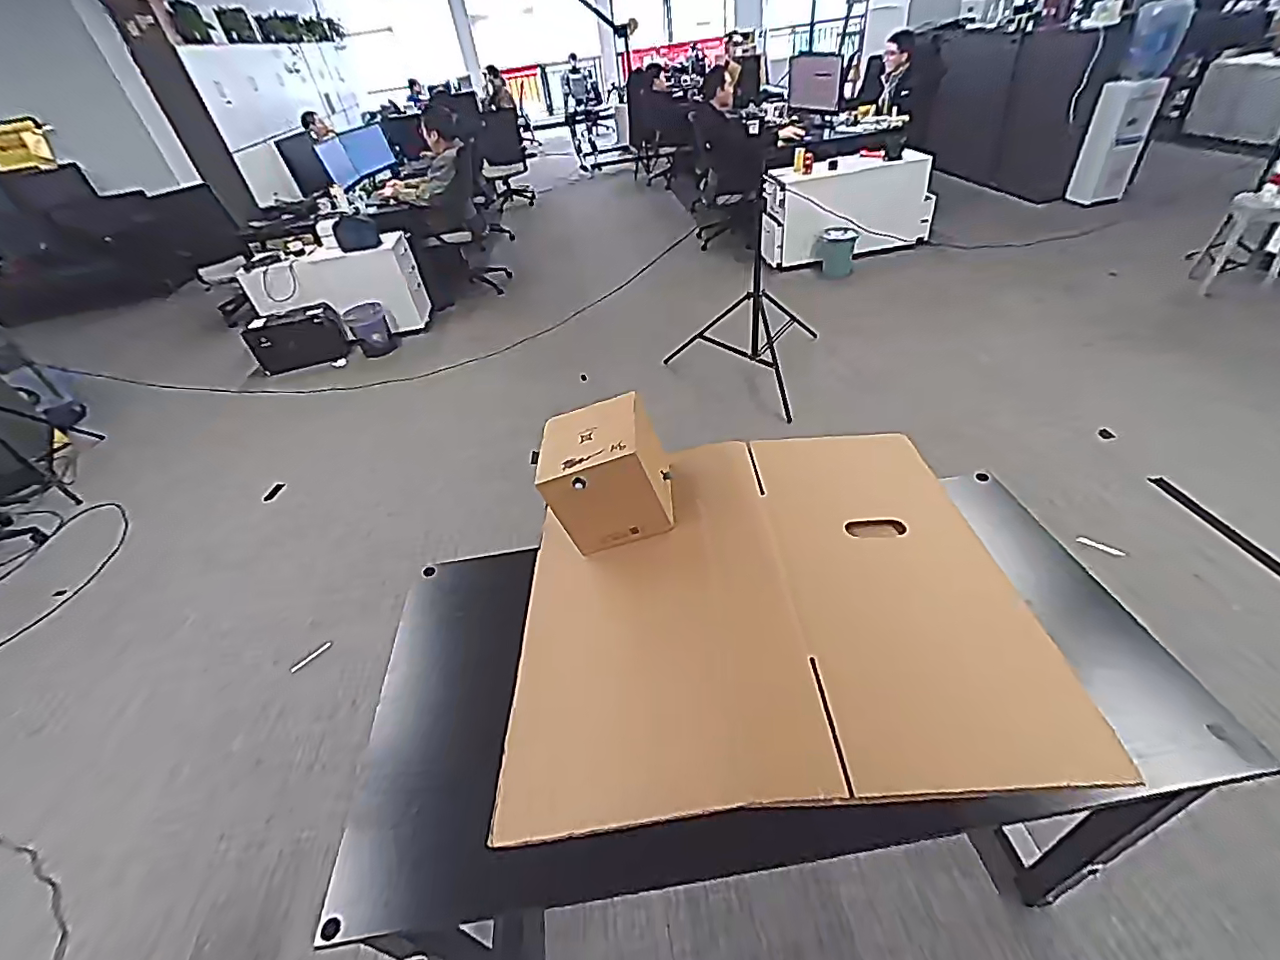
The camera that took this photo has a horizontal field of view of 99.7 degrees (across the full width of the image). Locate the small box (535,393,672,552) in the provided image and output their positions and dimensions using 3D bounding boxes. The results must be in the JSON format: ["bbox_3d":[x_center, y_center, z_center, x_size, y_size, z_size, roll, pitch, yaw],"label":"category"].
[{"bbox_3d":[-0.052,-0.010,0.896,0.168,0.176,0.179,-18,37,13],"label":"small box"}]
